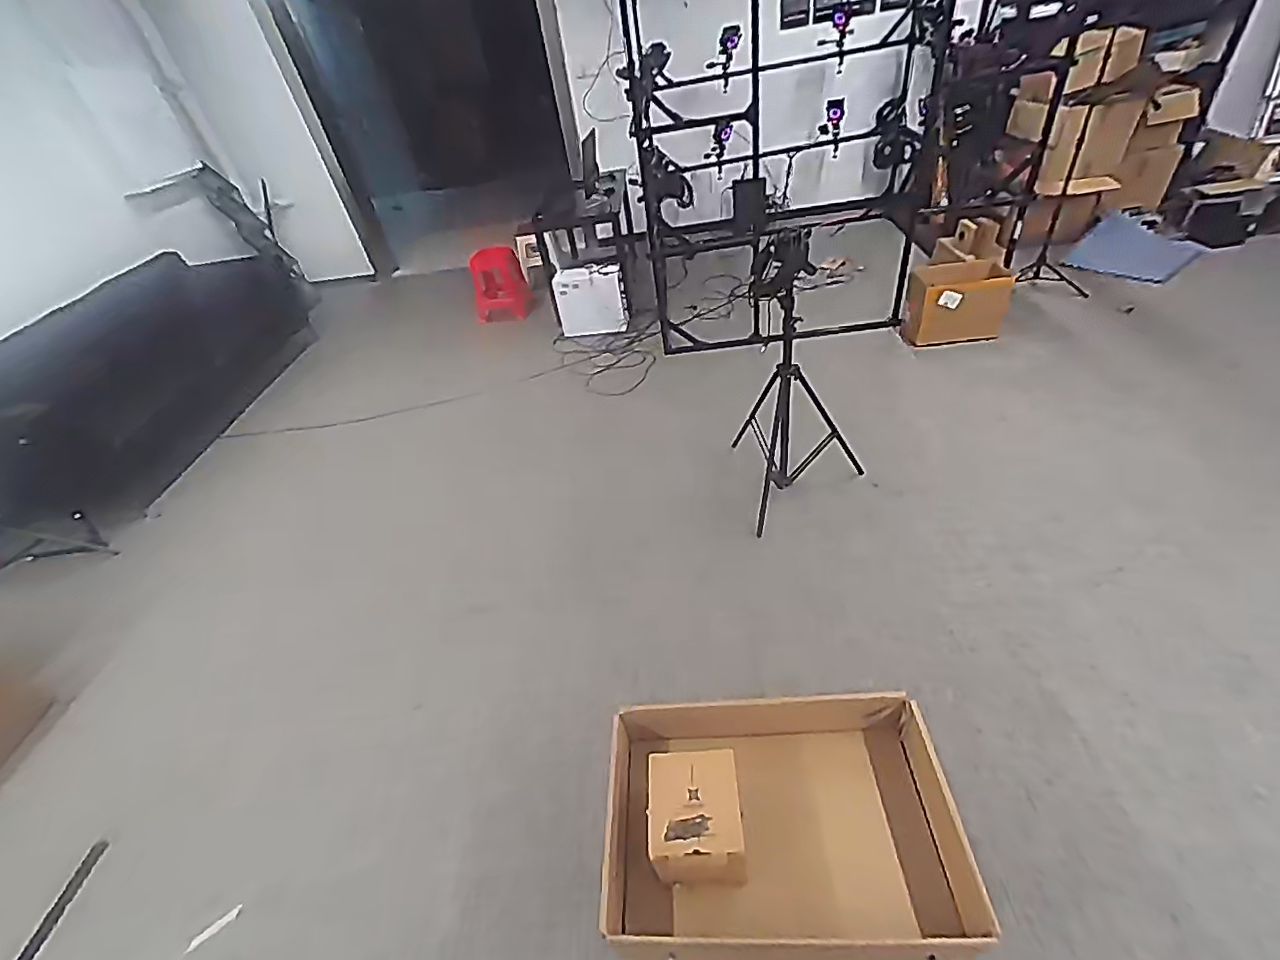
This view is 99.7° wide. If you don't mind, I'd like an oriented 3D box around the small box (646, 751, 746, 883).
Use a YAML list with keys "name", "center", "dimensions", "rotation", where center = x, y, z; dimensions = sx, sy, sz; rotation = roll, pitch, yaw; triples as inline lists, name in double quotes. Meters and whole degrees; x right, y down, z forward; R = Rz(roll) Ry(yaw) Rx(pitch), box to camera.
- name: "small box"
  center: [0.107, 0.642, 1.026]
  dimensions: [0.168, 0.176, 0.179]
  rotation: [-7, 39, 7]
